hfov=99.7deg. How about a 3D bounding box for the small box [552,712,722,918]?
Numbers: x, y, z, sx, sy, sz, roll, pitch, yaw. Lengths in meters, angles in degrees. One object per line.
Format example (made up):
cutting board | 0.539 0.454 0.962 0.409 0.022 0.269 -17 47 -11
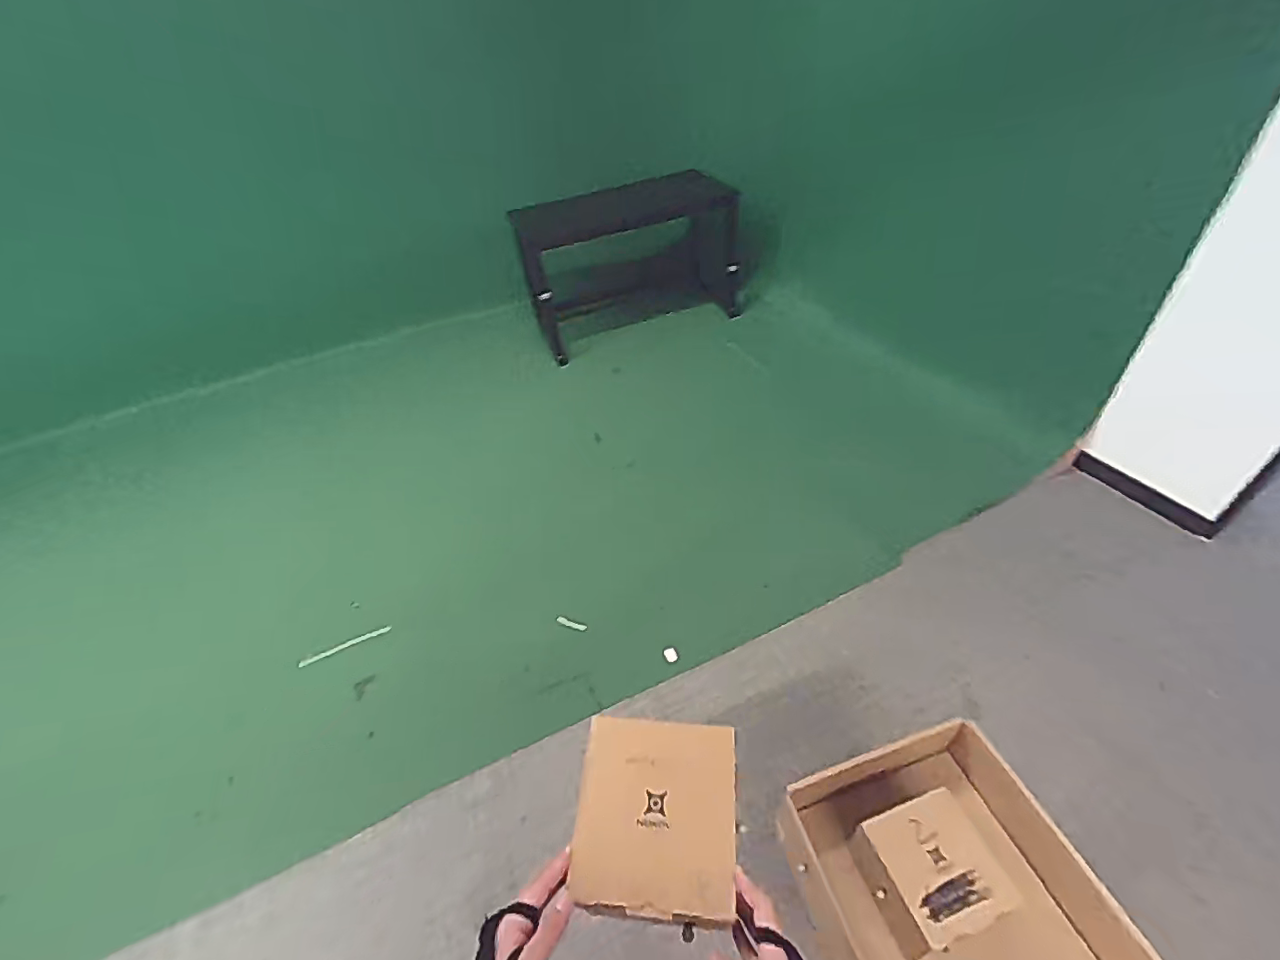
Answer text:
small box | 0.011 0.392 0.632 0.168 0.176 0.179 1 50 8
